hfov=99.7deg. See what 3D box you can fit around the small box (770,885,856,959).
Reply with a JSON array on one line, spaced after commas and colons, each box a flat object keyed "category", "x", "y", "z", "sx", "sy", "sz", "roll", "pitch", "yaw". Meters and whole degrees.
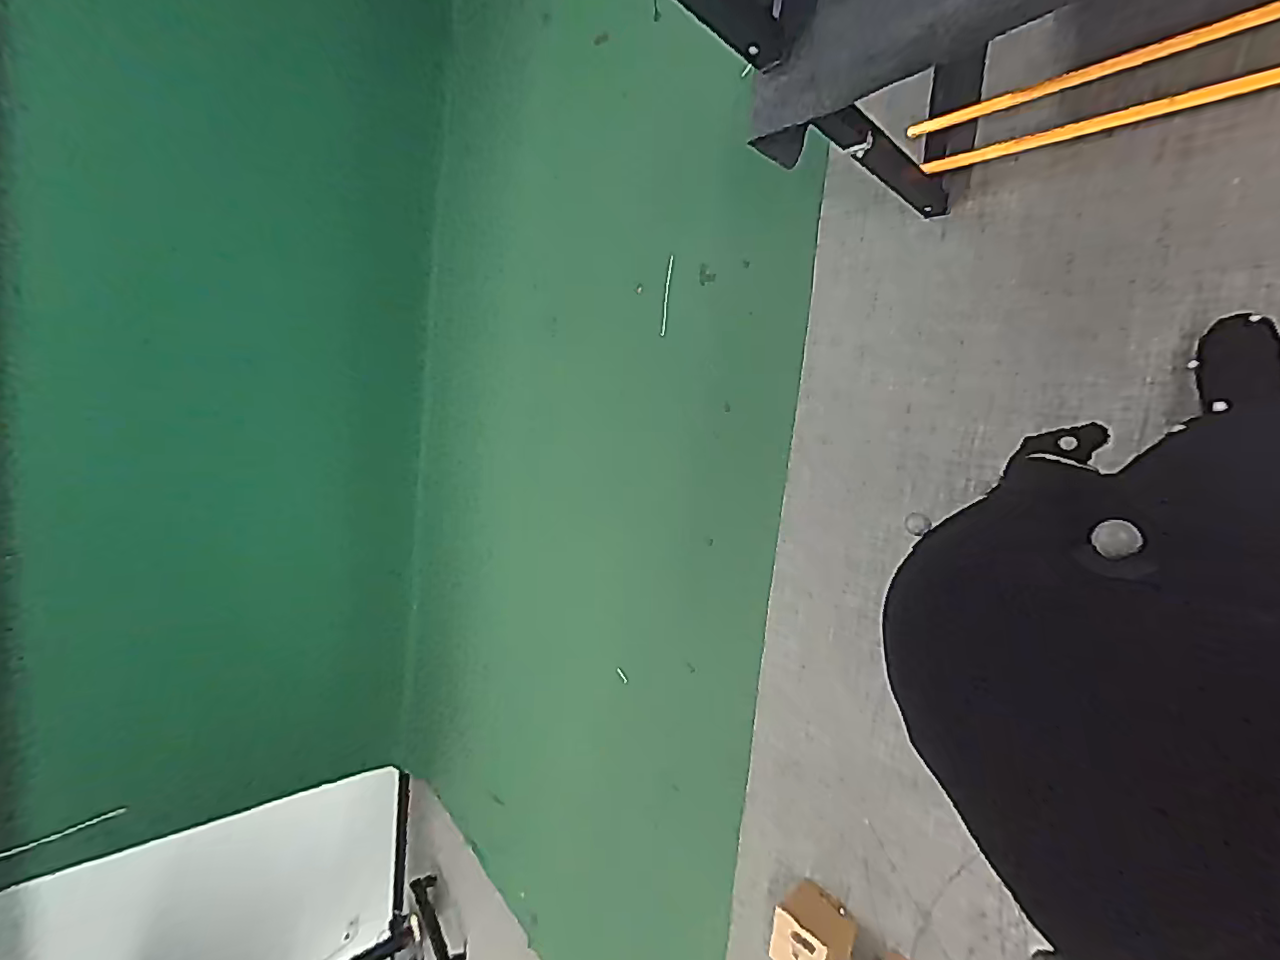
[{"category": "small box", "x": 0.507, "y": 1.340, "z": 1.572, "sx": 0.168, "sy": 0.176, "sz": 0.179, "roll": 15, "pitch": 101, "yaw": 48}]
